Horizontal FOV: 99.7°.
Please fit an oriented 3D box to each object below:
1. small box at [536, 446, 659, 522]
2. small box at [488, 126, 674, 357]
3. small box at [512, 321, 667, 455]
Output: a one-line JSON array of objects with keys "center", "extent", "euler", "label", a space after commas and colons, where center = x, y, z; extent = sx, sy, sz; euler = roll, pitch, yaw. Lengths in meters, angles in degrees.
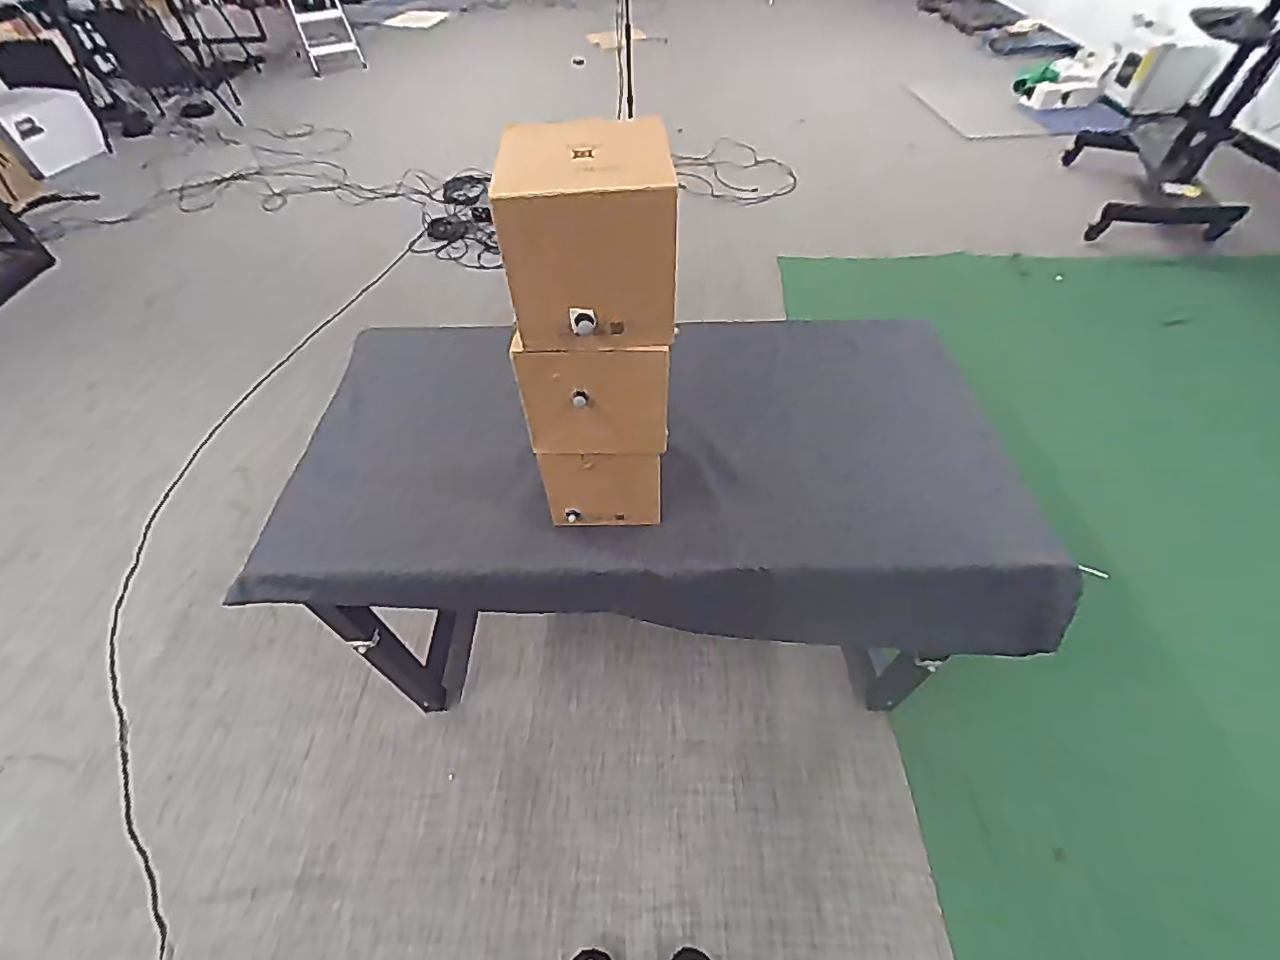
[{"center": [-0.055, -0.047, 0.836], "extent": [0.168, 0.176, 0.179], "euler": [-1, 49, 1], "label": "small box"}, {"center": [-0.056, -0.256, 0.586], "extent": [0.168, 0.176, 0.179], "euler": [-6, 51, -1], "label": "small box"}, {"center": [-0.056, -0.146, 0.710], "extent": [0.179, 0.176, 0.168], "euler": [-2, 48, -1], "label": "small box"}]
